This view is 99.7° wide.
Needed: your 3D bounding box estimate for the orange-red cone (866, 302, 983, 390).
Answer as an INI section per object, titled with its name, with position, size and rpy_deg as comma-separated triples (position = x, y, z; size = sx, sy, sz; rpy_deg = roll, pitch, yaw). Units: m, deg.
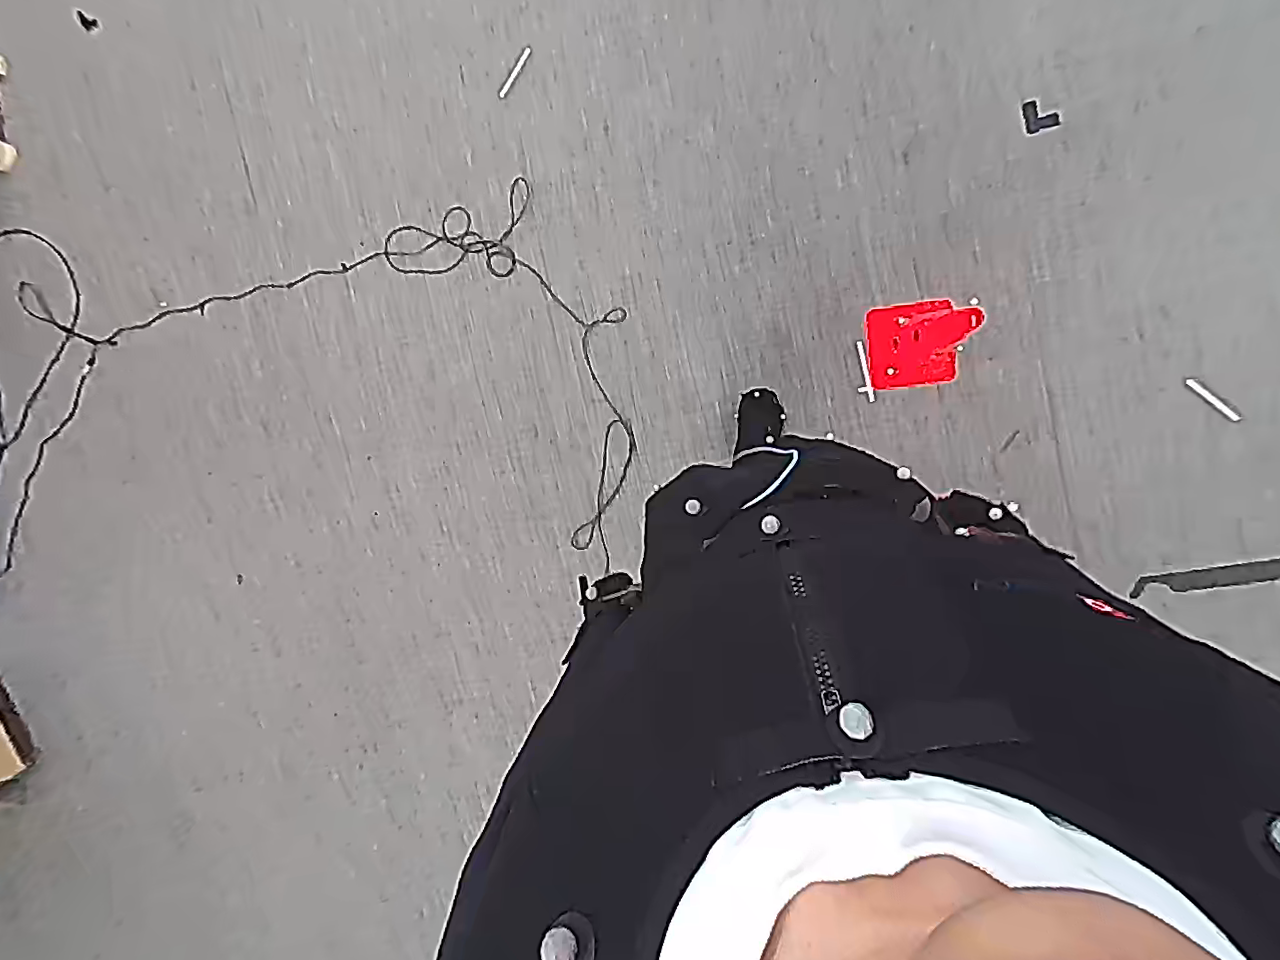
[orange-red cone]
position = 0.627, -0.306, 1.143
size = 0.199, 0.360, 0.198
rpy_deg = -5, 95, 9
